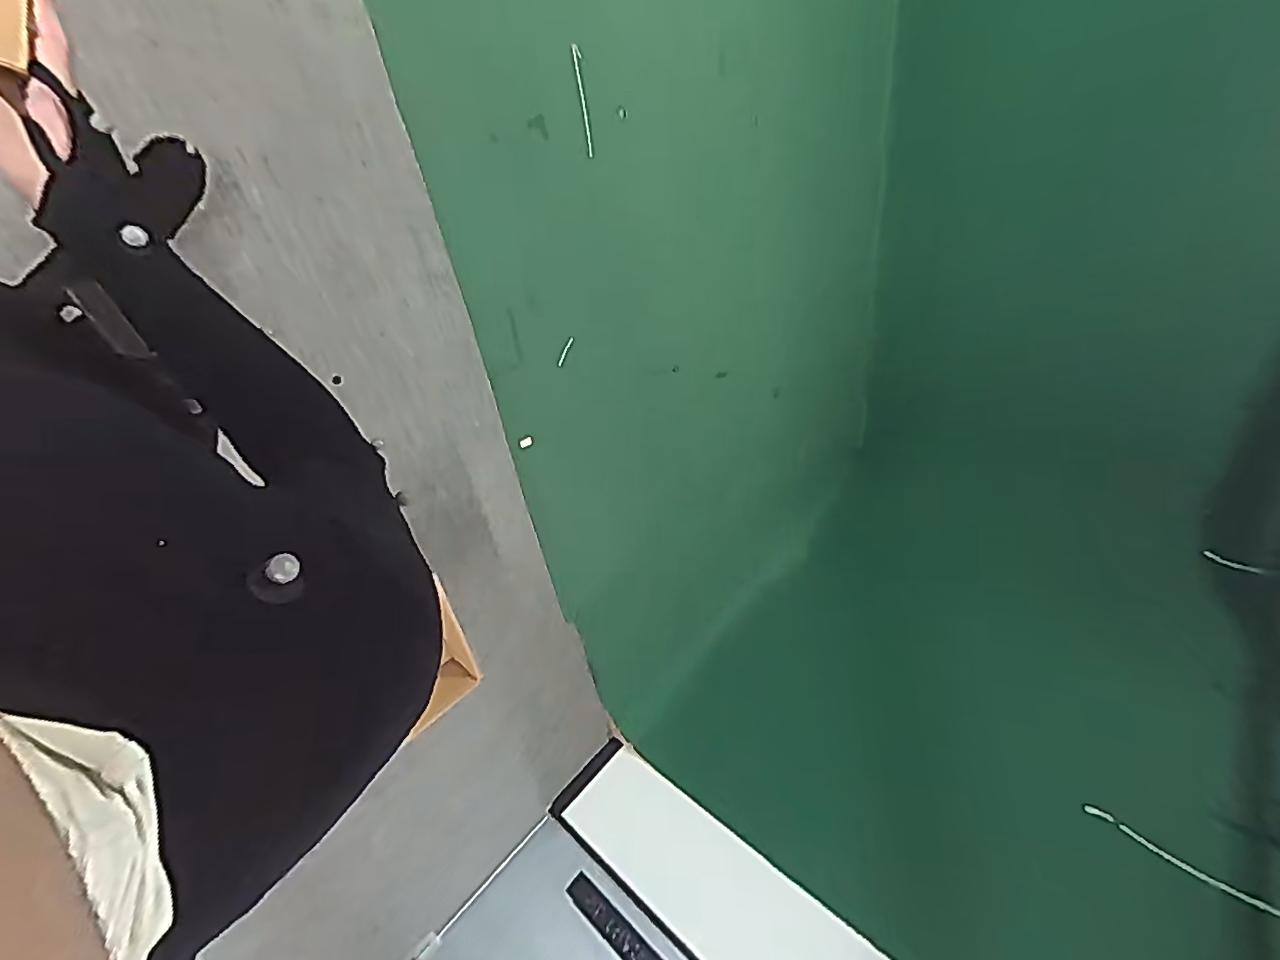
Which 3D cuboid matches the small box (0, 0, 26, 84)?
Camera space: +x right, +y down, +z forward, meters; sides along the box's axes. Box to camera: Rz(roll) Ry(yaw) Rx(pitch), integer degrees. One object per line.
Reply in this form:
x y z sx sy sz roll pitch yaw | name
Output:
-0.520 -0.396 0.343 0.168 0.176 0.179 -3 109 -49 | small box
